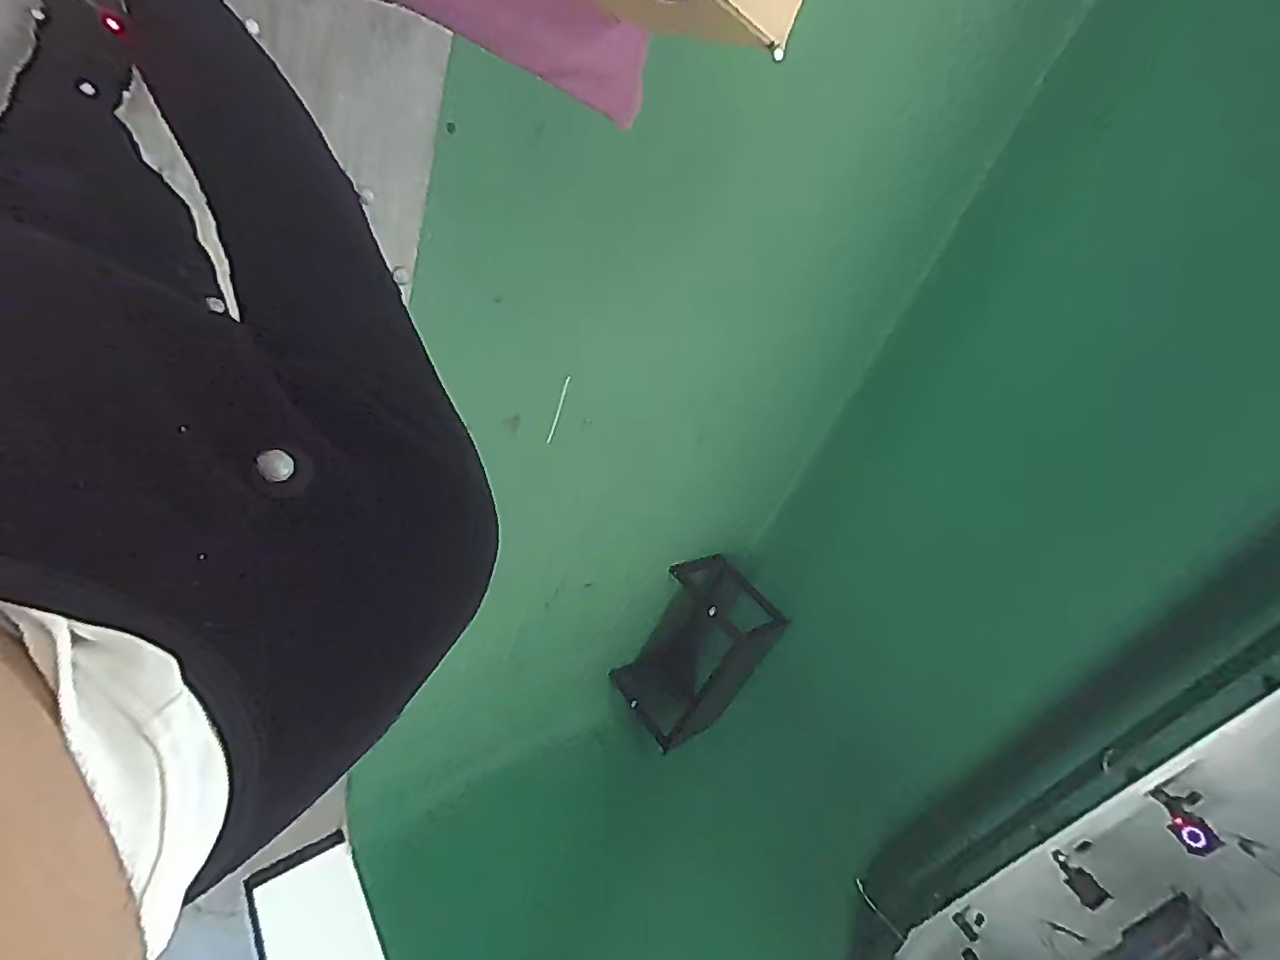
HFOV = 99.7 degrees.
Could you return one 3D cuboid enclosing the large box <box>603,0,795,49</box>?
[{"bbox_3d":[0.029,-0.736,0.513,0.320,0.320,0.408,-8,133,-43],"label":"large box"}]
